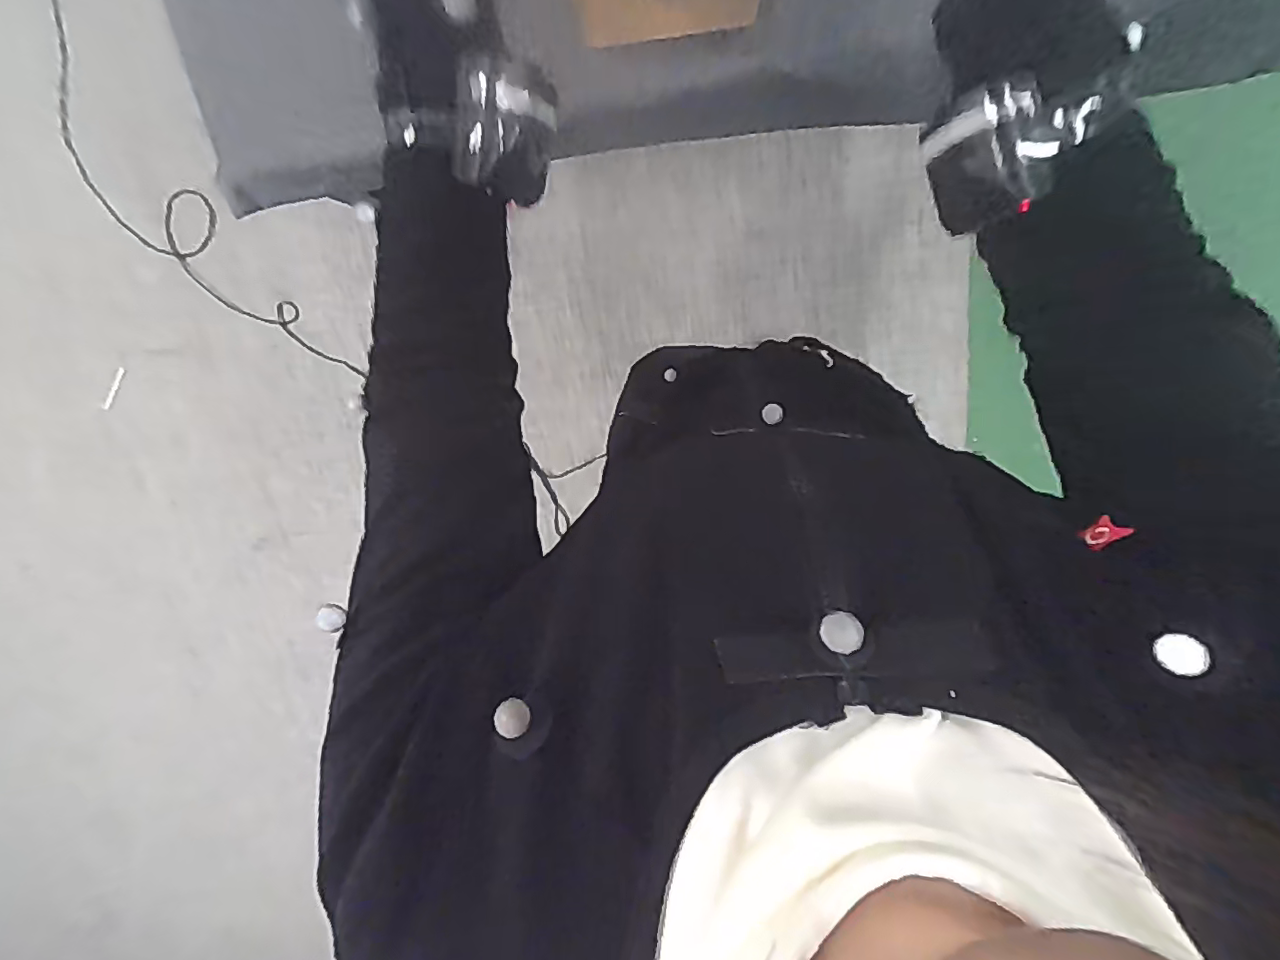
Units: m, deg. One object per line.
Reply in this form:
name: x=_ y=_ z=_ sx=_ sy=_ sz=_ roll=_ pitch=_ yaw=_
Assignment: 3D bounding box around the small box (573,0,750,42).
small box: x=0.015 y=-0.520 z=0.467 sx=0.179 sy=0.176 sz=0.168 roll=-4 pitch=104 yaw=4
